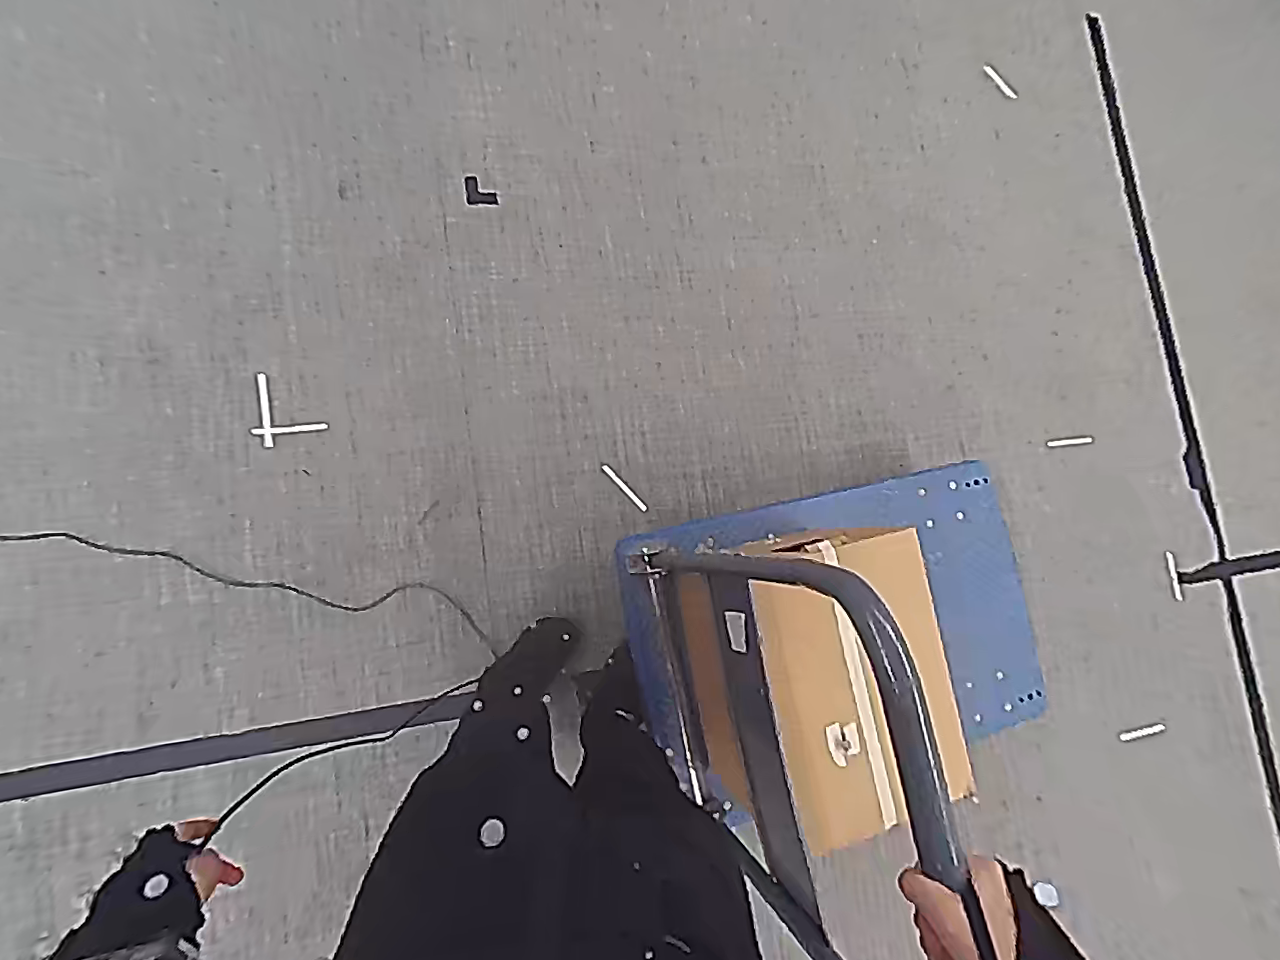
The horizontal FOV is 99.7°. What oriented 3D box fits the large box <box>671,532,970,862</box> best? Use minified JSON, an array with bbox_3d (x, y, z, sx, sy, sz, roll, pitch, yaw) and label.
[{"bbox_3d":[0.276,0.318,0.929,0.320,0.320,0.408,-11,87,-13],"label":"large box"}]
